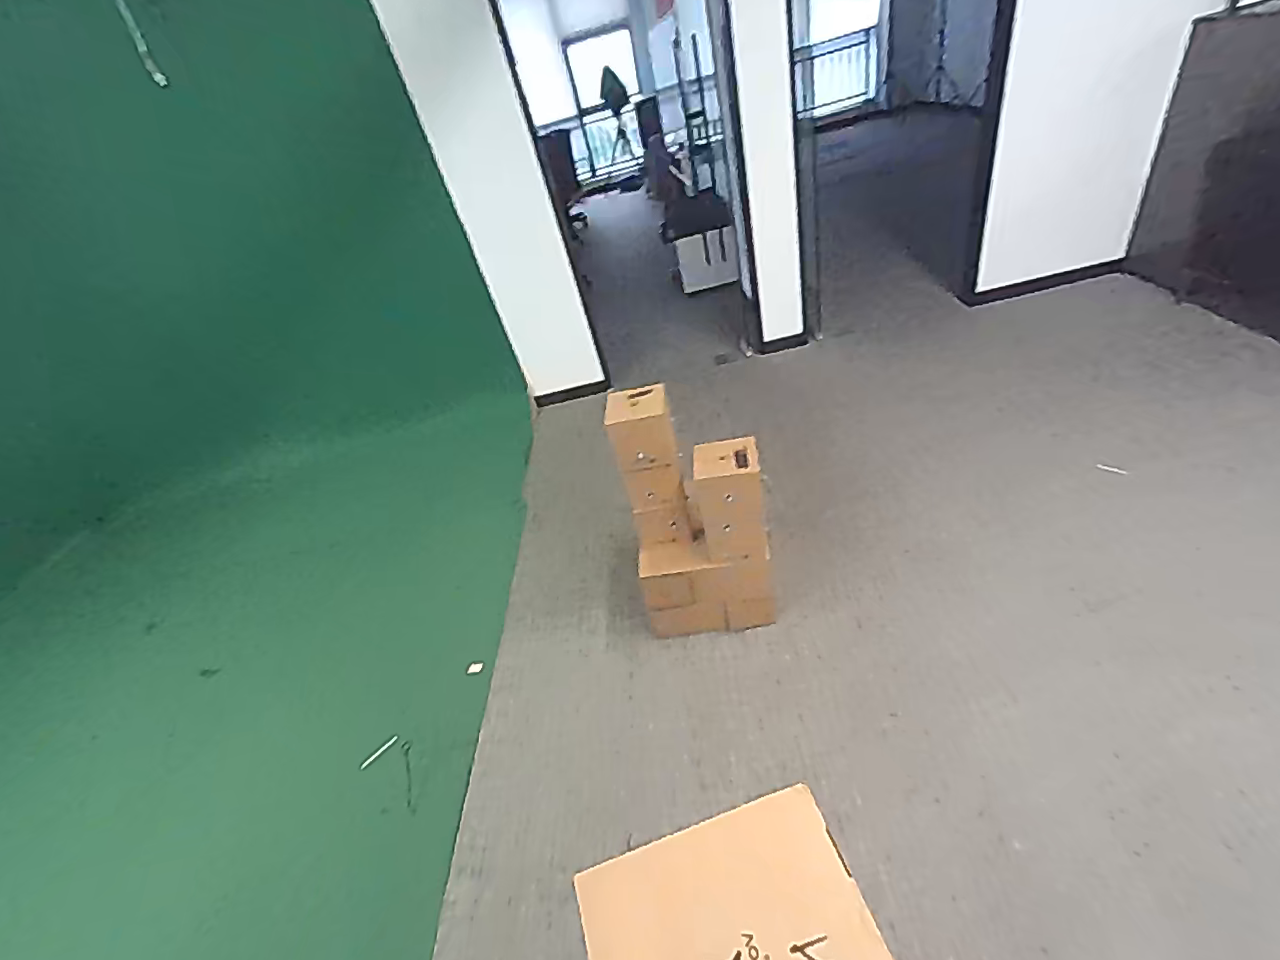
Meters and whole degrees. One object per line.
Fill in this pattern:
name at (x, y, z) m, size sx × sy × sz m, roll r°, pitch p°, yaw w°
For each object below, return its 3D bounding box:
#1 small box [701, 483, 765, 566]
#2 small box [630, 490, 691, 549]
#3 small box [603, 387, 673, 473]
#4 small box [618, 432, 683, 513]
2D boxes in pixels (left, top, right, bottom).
small box at (0.279, 0.135, 1.630) m, size 0.168 × 0.176 × 0.179 m, roll -9°, pitch 35°, yaw 11°
small box at (0.070, 0.109, 1.754) m, size 0.168 × 0.176 × 0.179 m, roll -10°, pitch 34°, yaw 9°
small box at (-0.001, -0.143, 1.558) m, size 0.168 × 0.176 × 0.179 m, roll -10°, pitch 36°, yaw 9°
small box at (0.037, -0.023, 1.662) m, size 0.168 × 0.176 × 0.179 m, roll -10°, pitch 37°, yaw 9°
